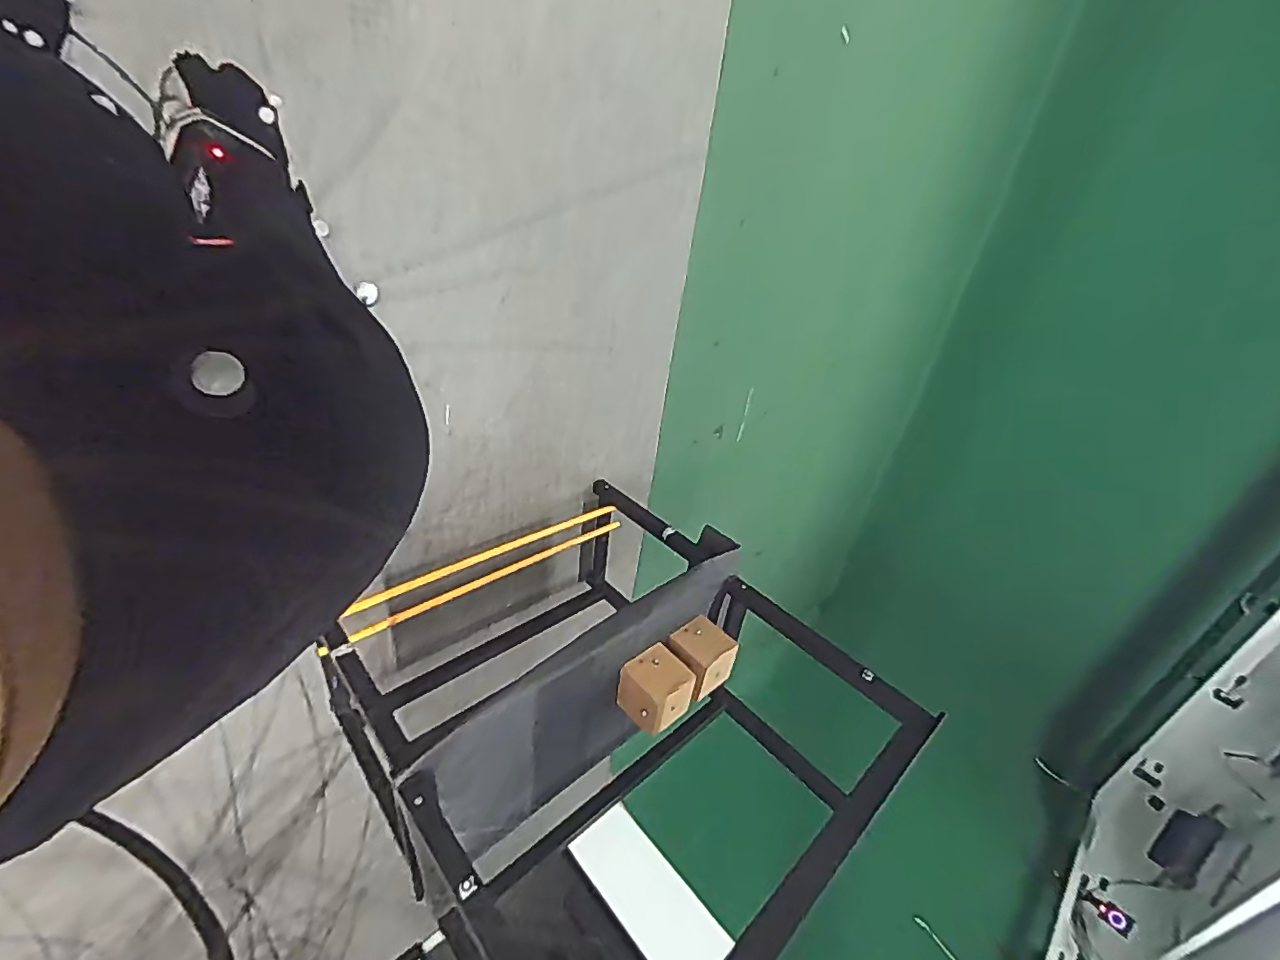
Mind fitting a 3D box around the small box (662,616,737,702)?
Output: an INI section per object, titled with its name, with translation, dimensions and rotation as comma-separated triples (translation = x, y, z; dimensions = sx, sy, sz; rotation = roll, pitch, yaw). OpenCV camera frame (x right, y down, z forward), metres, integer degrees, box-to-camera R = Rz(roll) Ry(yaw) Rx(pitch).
[small box]
translation = 0.193, 0.595, 1.812
dimensions = 0.168, 0.176, 0.179
rotation = -20, 131, -39
